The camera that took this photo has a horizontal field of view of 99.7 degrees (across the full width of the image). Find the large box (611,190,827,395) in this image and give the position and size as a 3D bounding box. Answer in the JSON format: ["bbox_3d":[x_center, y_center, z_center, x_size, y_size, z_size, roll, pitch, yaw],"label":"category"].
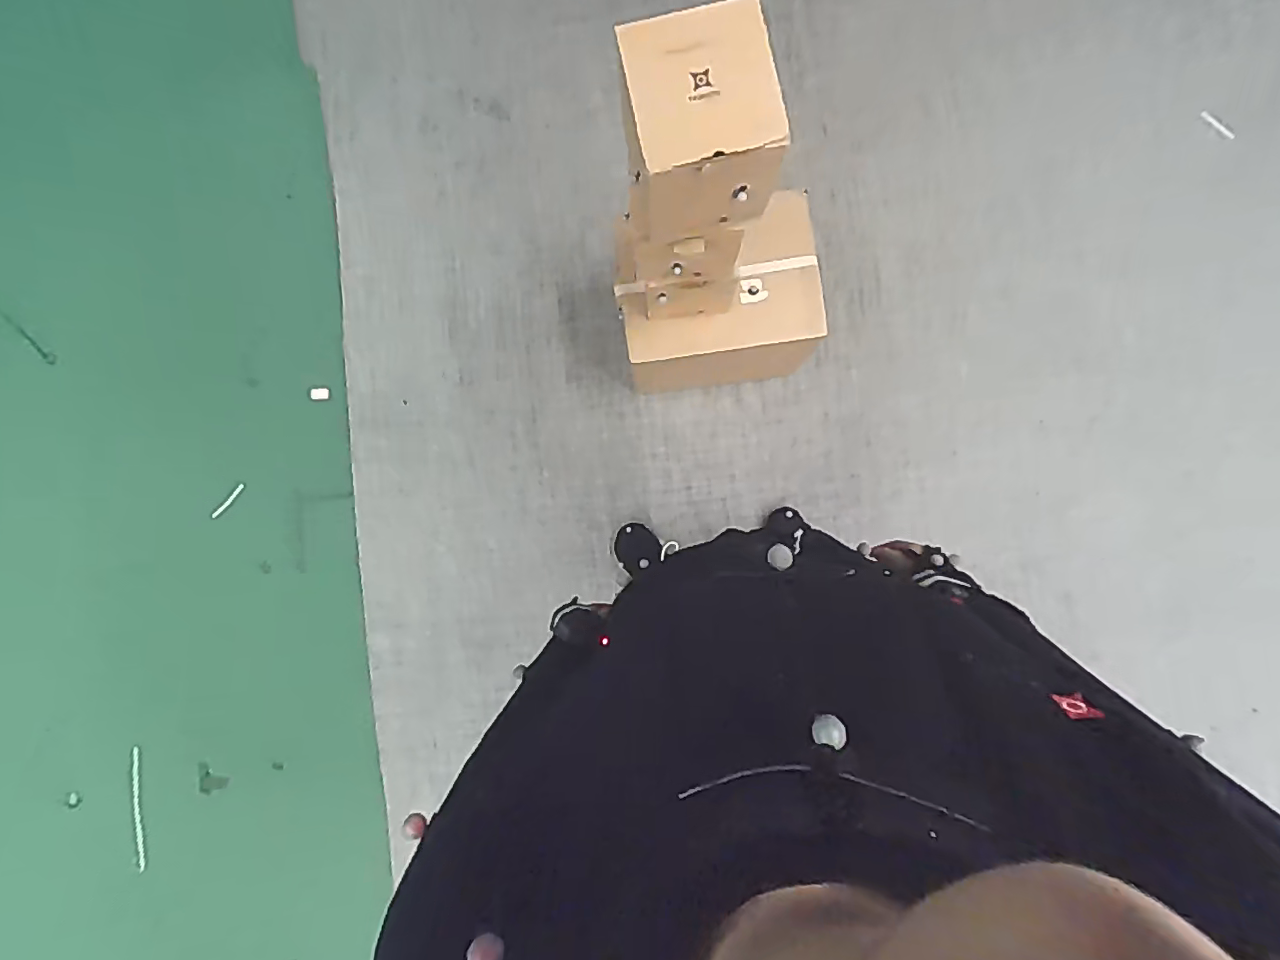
[{"bbox_3d":[0.161,-0.401,1.240,0.408,0.320,0.320,-8,88,1],"label":"large box"}]

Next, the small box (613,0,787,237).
[{"bbox_3d":[0.069,-0.429,0.676,0.168,0.176,0.179,-12,86,0],"label":"small box"}]

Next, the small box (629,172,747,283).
[{"bbox_3d":[0.068,-0.426,0.838,0.168,0.176,0.179,-2,87,2],"label":"small box"}]
